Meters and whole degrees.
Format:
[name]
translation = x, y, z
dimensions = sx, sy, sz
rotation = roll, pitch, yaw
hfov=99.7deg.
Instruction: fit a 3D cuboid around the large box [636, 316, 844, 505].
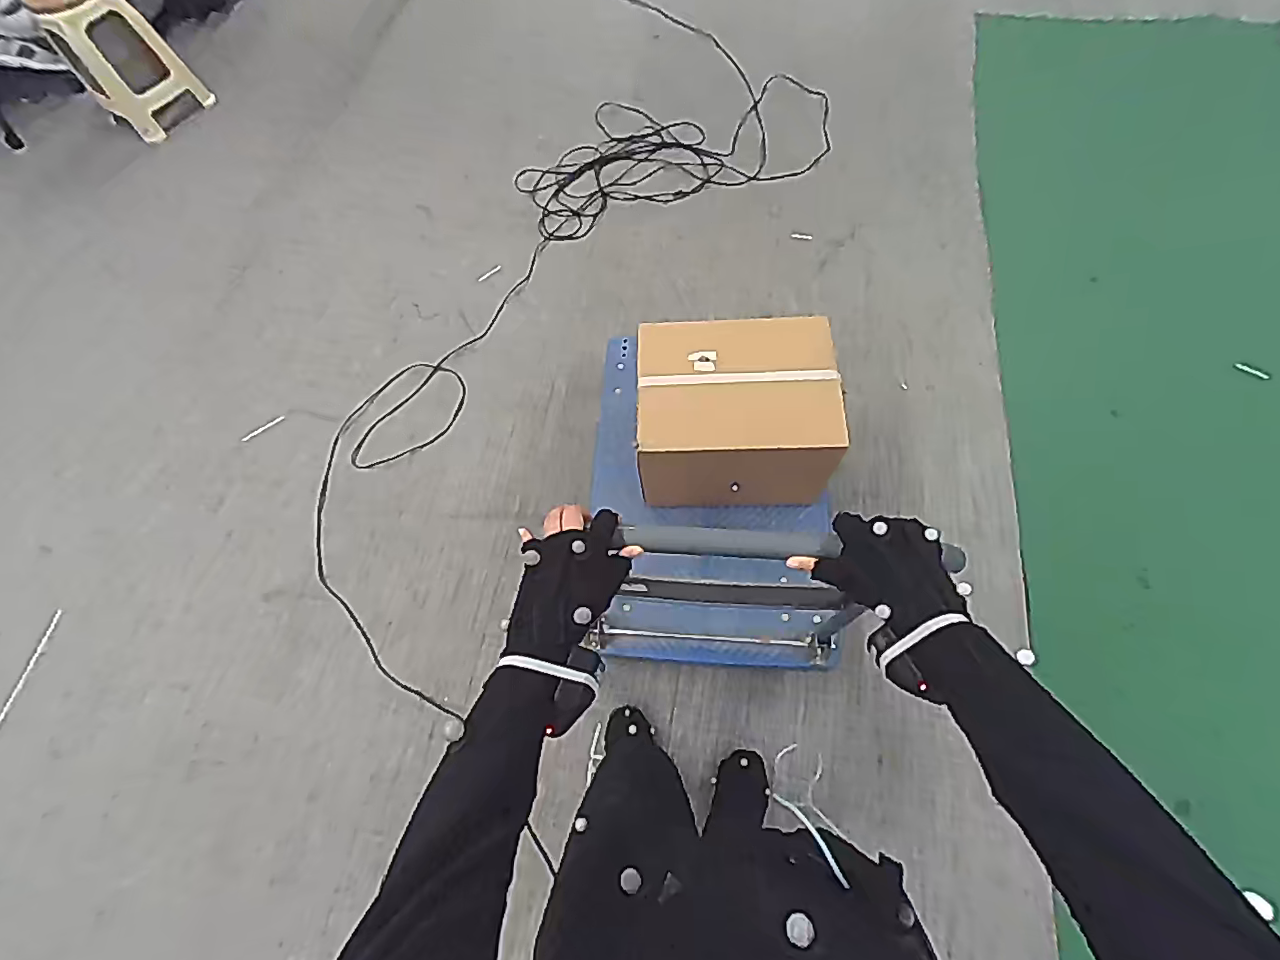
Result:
[large box]
translation = 0.208, -0.142, 1.247
dimensions = 0.408, 0.320, 0.320
rotation = -3, 66, 5
